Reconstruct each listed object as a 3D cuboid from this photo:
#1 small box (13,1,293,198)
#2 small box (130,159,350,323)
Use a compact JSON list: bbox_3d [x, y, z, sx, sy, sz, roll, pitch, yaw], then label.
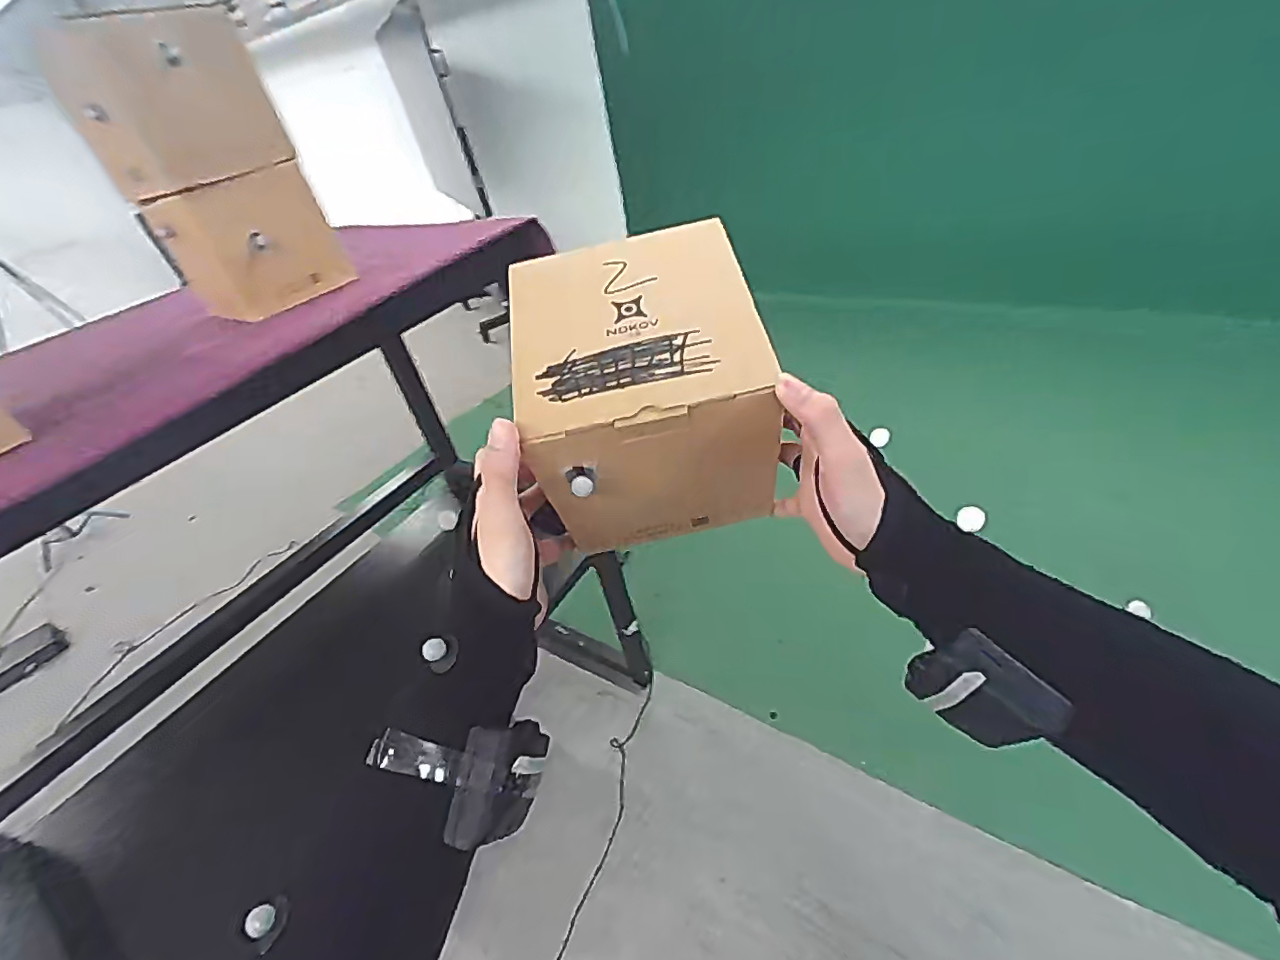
[{"bbox_3d":[-0.593,-0.464,0.678,0.168,0.176,0.179,14,45,31],"label":"small box"},{"bbox_3d":[-0.565,-0.342,0.784,0.179,0.176,0.168,16,47,34],"label":"small box"}]
